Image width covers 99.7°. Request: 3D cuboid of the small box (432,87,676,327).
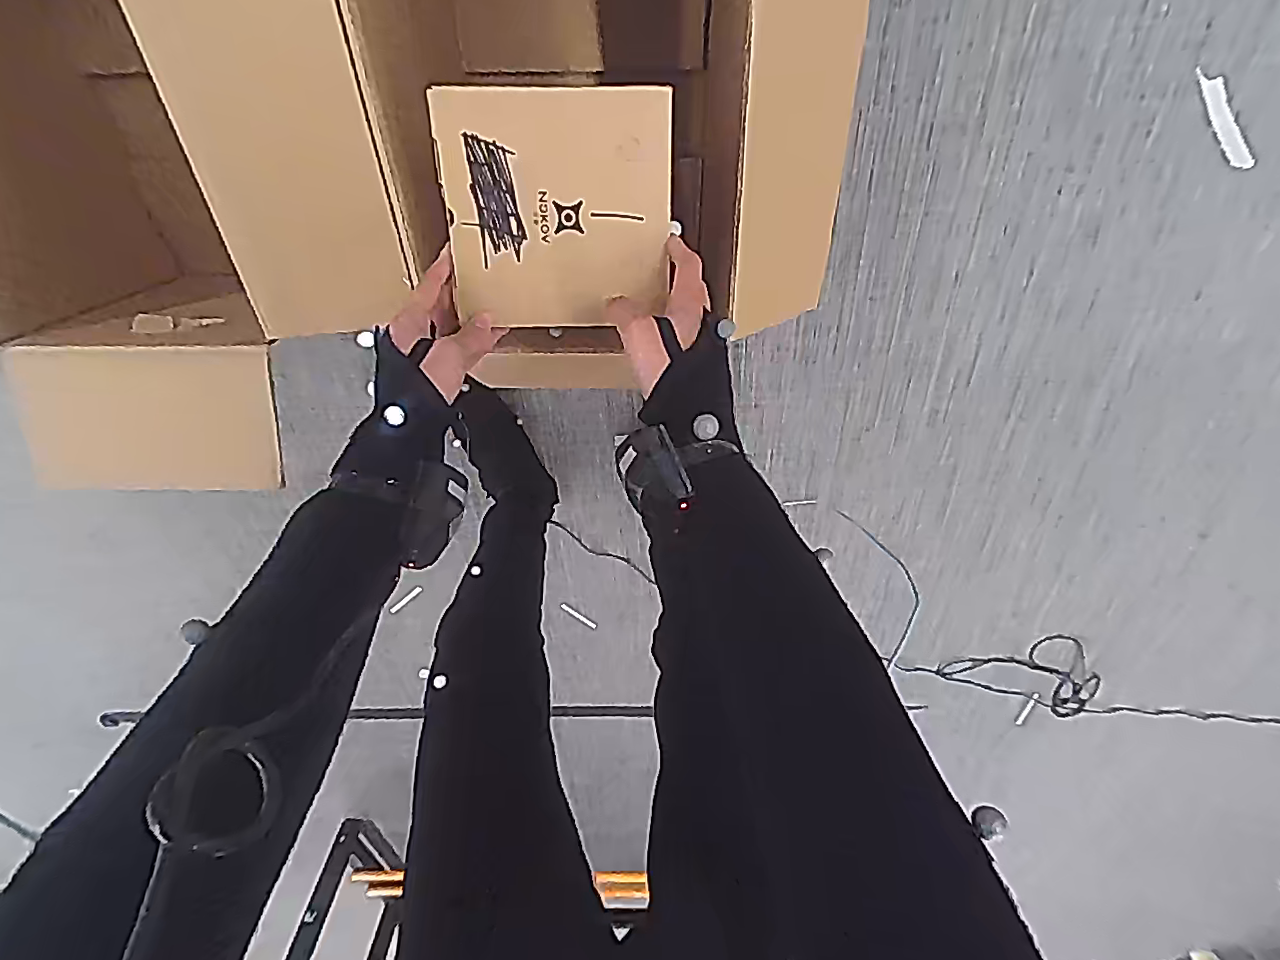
[{"bbox_3d":[-0.063,-0.231,0.486,0.179,0.176,0.168,-1,113,-2],"label":"small box"}]
